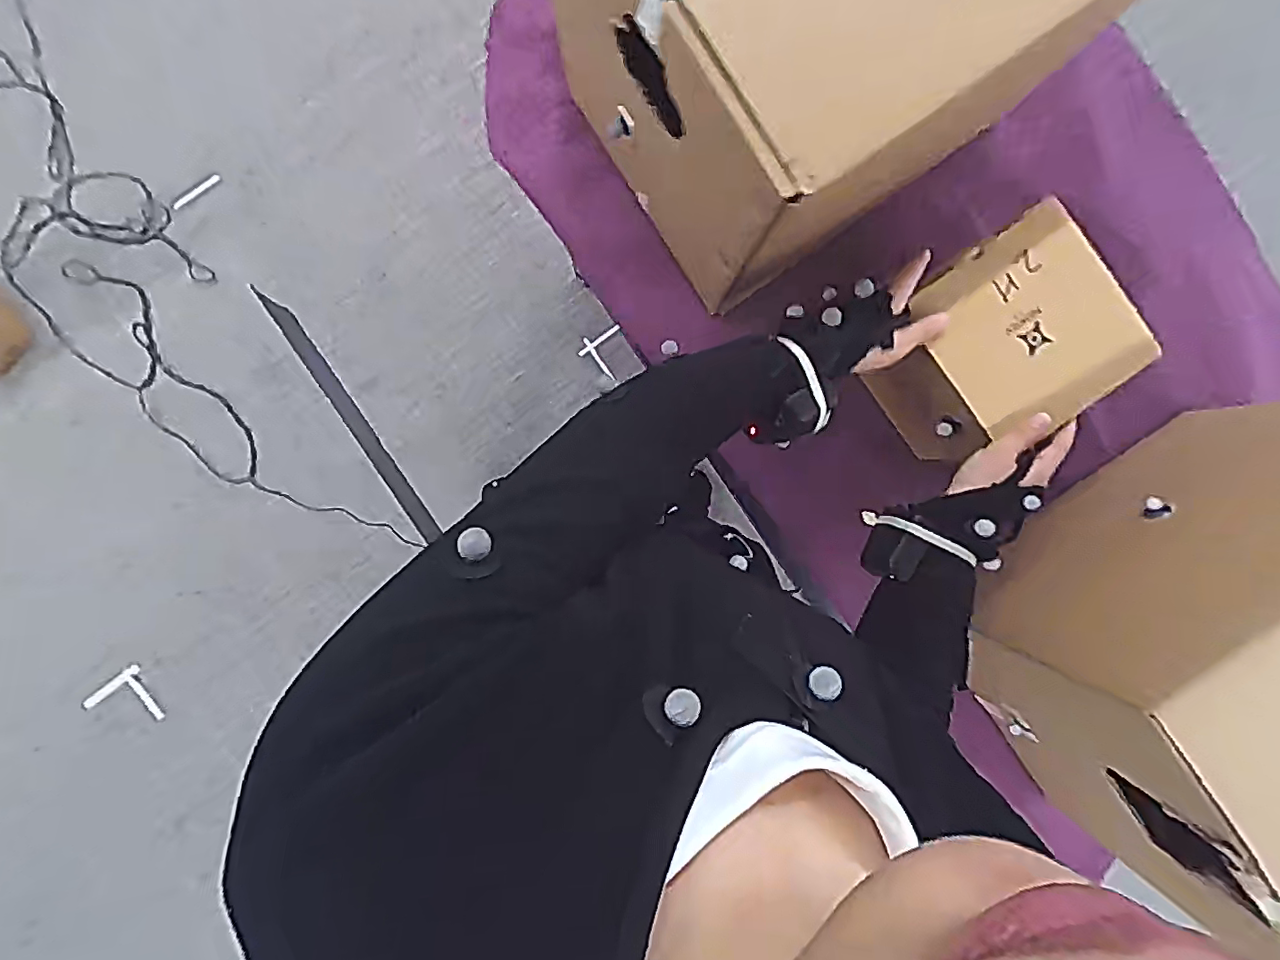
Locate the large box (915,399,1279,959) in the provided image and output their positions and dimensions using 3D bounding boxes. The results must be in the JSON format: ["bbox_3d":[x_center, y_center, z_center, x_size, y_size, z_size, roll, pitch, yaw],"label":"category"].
[{"bbox_3d":[0.571,0.153,0.505,0.408,0.320,0.320,-35,92,0],"label":"large box"}]

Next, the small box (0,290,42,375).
[{"bbox_3d":[-1.624,-0.373,1.289,0.168,0.176,0.179,-41,92,3],"label":"small box"}]
